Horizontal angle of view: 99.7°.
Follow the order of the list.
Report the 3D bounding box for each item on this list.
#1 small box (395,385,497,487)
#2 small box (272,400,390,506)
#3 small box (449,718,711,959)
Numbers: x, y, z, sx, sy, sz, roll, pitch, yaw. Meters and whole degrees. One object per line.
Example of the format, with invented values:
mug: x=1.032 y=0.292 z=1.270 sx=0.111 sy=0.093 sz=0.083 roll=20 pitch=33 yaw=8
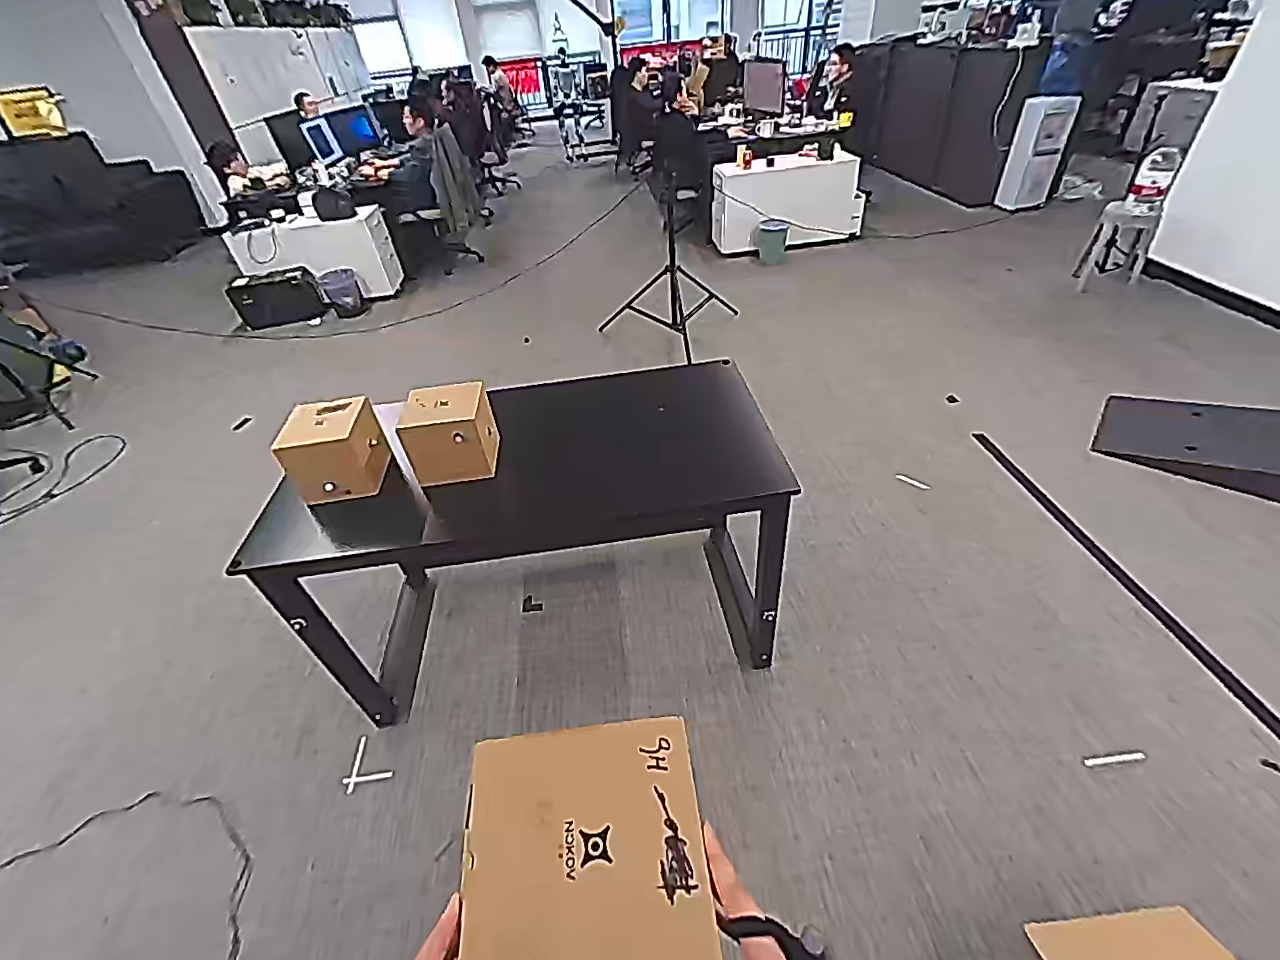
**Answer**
small box: x=-0.446 y=-0.103 z=1.280 sx=0.179 sy=0.176 sz=0.168 roll=-8 pitch=39 yaw=-3
small box: x=-0.710 y=-0.064 z=1.269 sx=0.168 sy=0.176 sz=0.179 roll=-9 pitch=41 yaw=-3
small box: x=-0.042 y=0.323 z=0.457 sx=0.179 sy=0.176 sz=0.168 roll=-6 pitch=49 yaw=-2
